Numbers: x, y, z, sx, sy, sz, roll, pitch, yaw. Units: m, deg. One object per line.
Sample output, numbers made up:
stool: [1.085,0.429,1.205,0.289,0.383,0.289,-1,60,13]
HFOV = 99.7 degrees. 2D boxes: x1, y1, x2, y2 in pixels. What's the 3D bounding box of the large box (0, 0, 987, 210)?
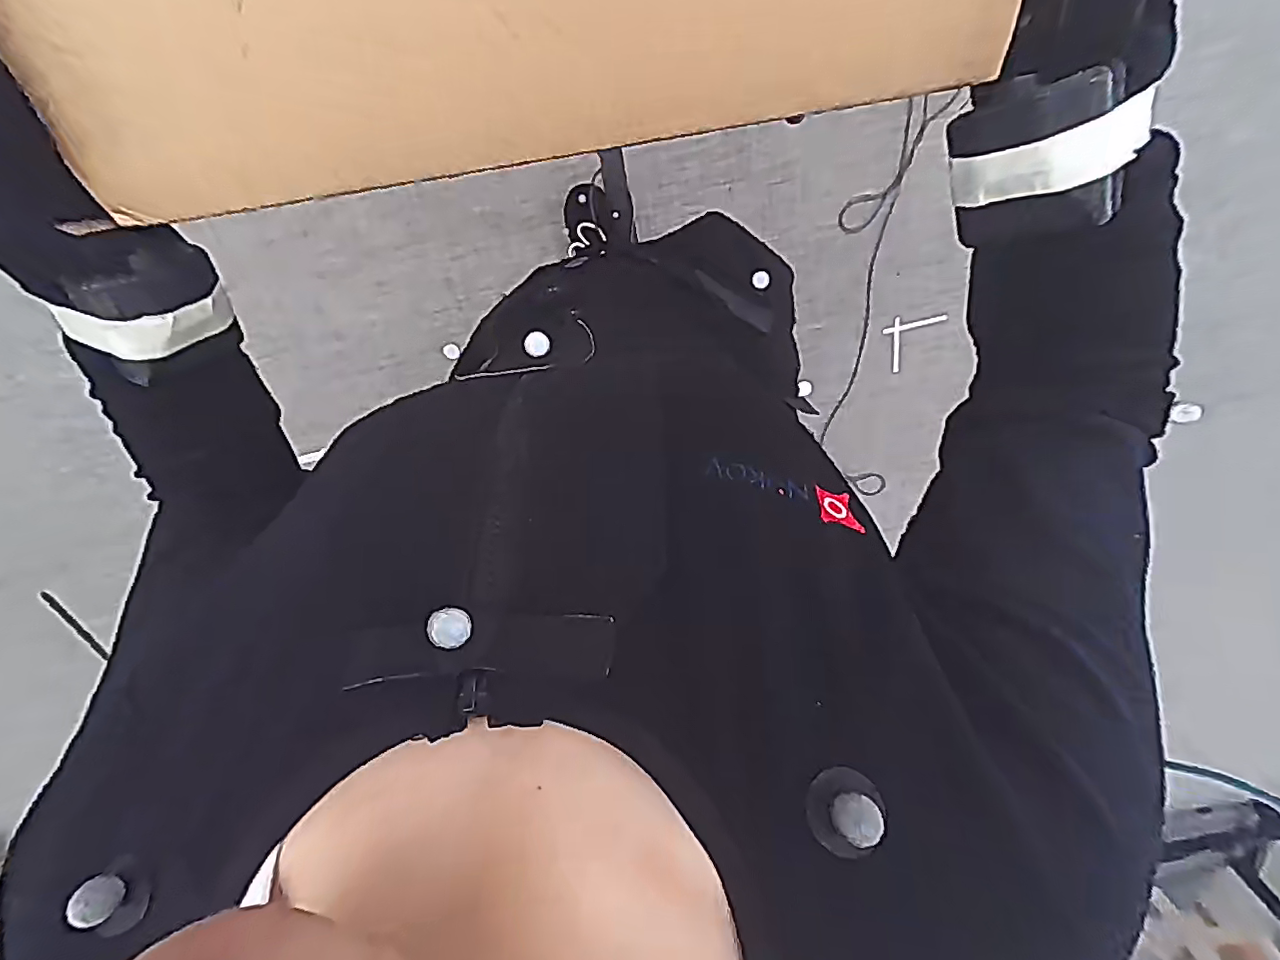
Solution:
large box: [-0.076,-0.369,0.245,0.408,0.320,0.320,-7,135,4]
